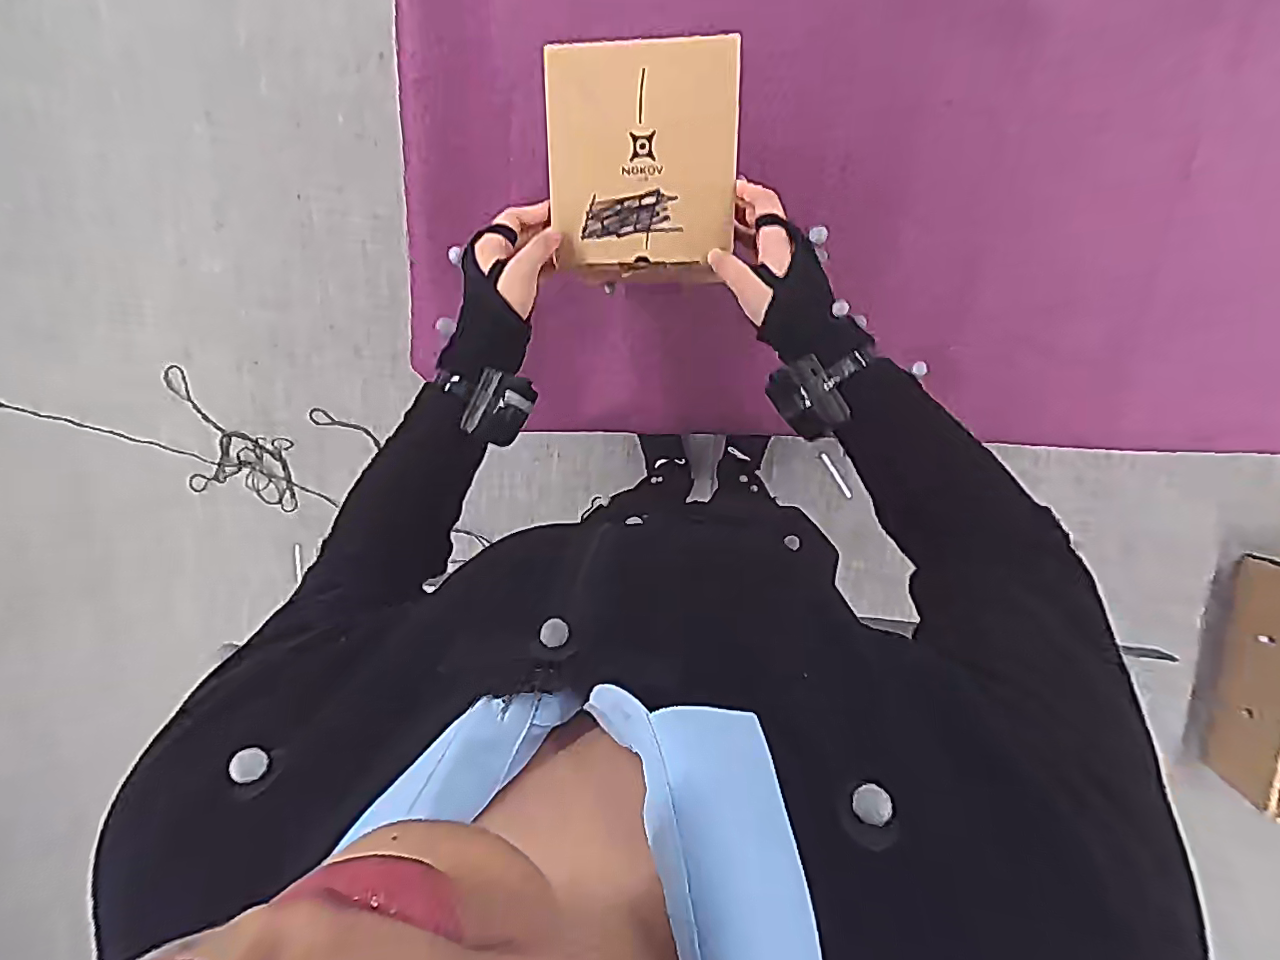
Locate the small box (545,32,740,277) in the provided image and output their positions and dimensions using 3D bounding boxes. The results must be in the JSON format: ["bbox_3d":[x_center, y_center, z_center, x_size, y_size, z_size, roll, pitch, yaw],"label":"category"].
[{"bbox_3d":[0.008,-0.302,0.544,0.168,0.176,0.179,1,104,5],"label":"small box"}]
